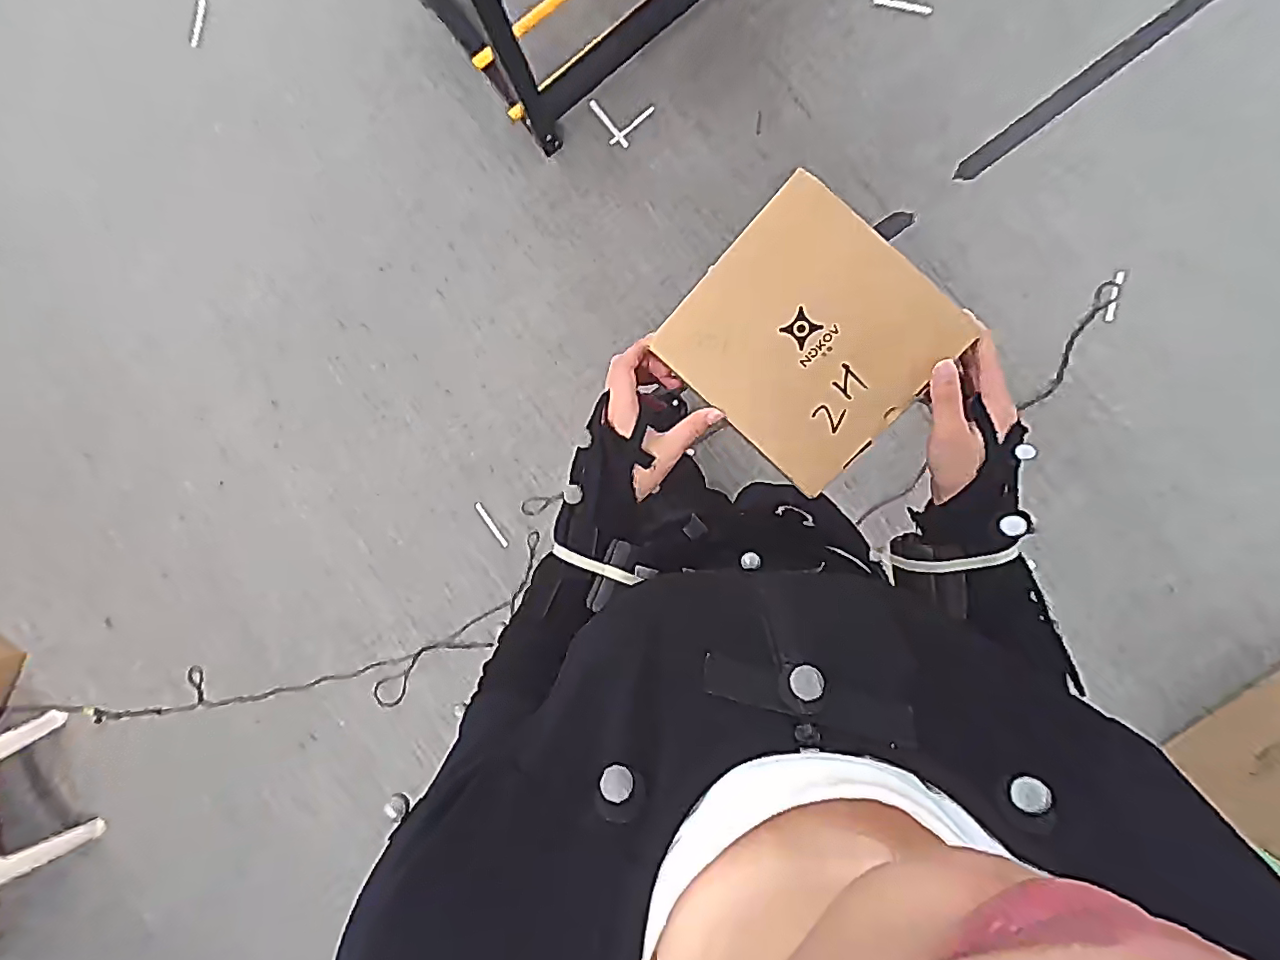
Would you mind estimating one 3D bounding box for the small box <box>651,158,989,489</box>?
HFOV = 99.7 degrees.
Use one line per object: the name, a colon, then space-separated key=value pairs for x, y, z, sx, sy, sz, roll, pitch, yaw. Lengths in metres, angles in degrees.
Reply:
small box: x=0.133 y=-0.116 z=0.461 sx=0.179 sy=0.176 sz=0.168 roll=43 pitch=101 yaw=0
